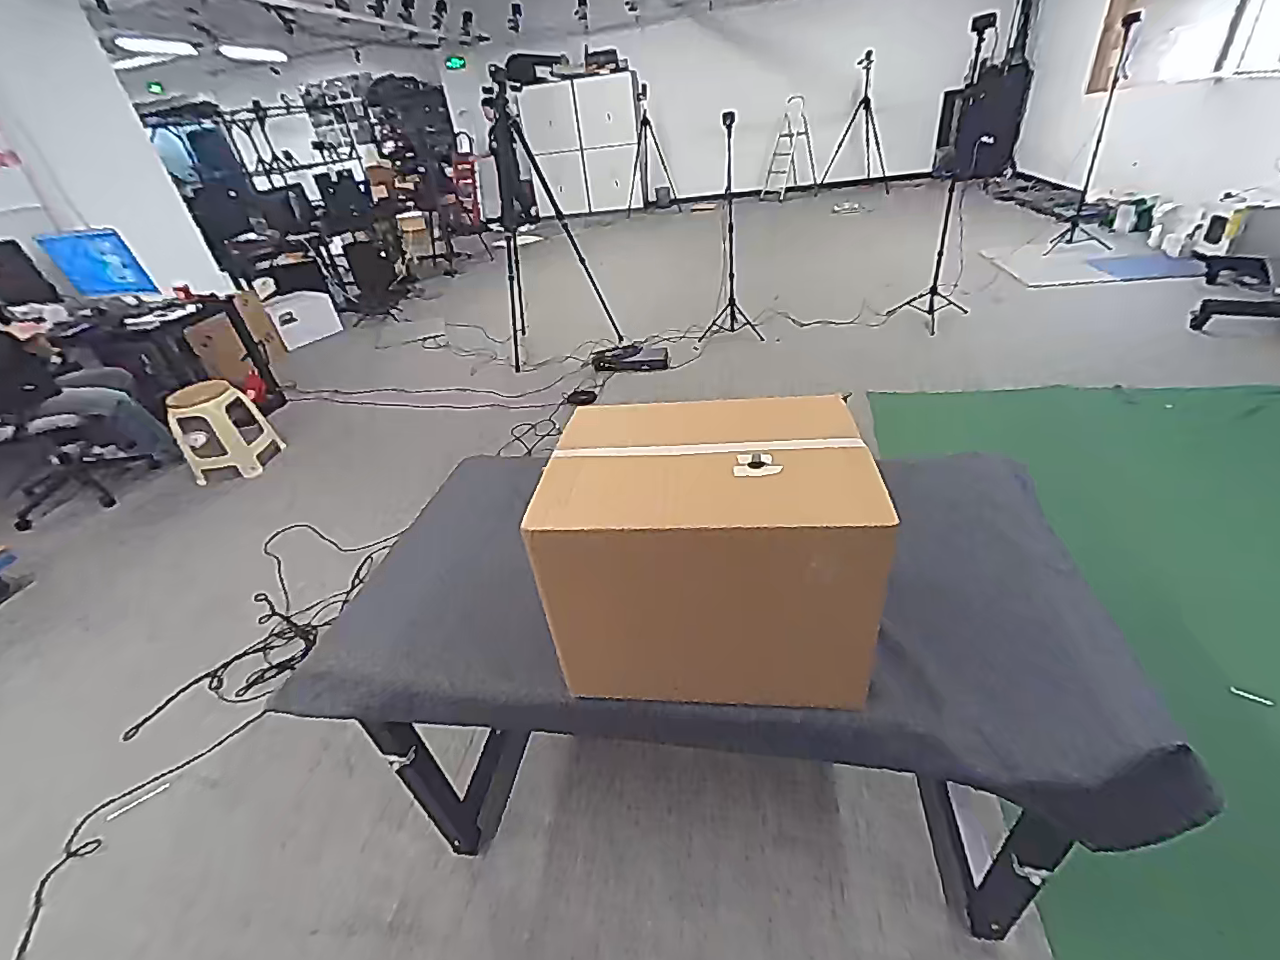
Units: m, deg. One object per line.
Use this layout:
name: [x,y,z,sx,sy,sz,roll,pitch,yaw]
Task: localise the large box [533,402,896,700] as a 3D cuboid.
large box: [0.099,0.095,0.790,0.408,0.320,0.320,-1,34,8]
